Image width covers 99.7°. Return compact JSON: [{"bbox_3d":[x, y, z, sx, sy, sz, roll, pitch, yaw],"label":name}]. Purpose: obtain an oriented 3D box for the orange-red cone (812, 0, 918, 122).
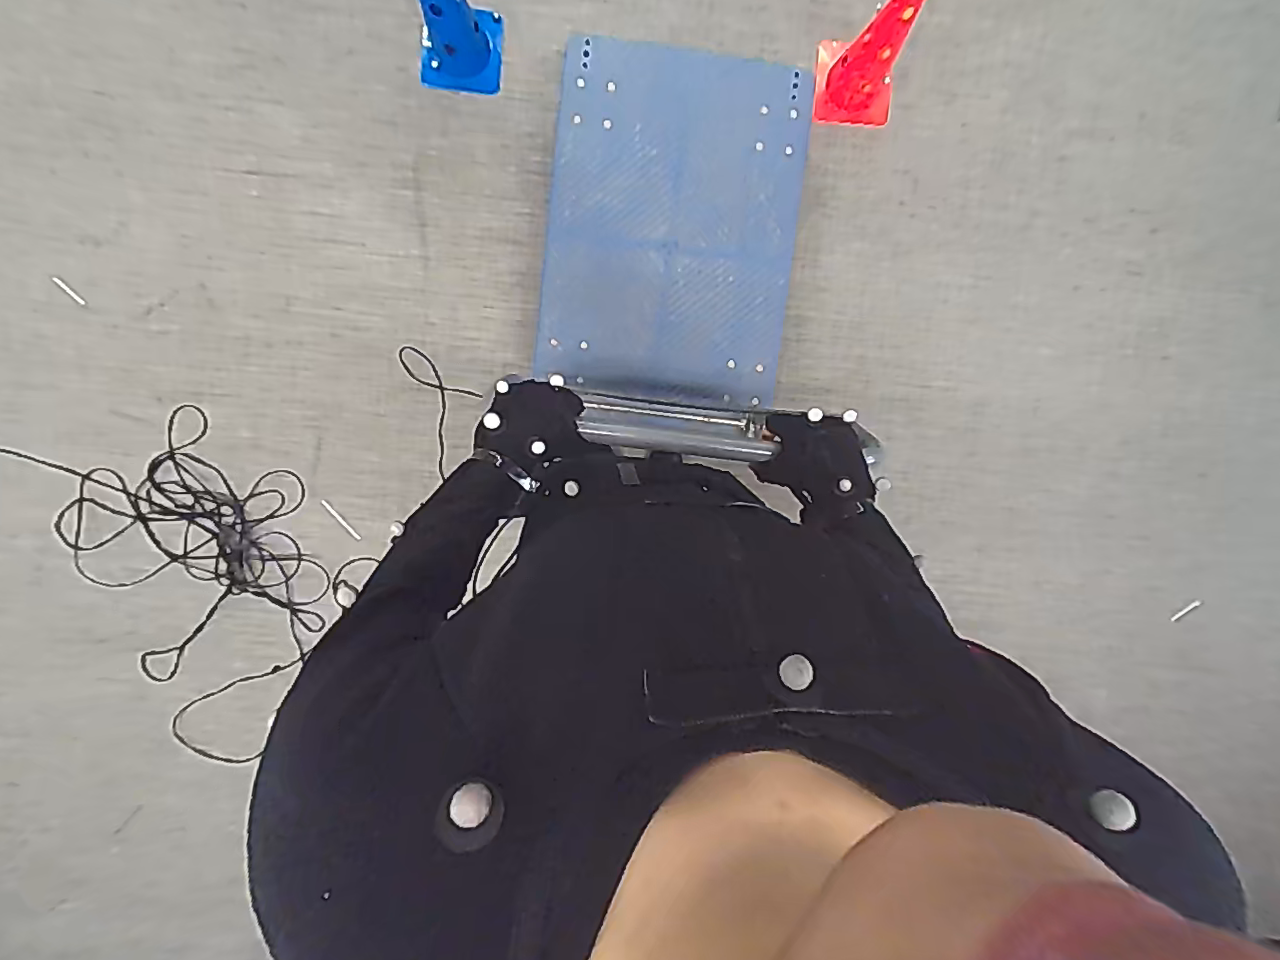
[{"bbox_3d":[0.556,-1.031,1.242,0.199,0.360,0.198,4,94,-1],"label":"orange-red cone"}]
